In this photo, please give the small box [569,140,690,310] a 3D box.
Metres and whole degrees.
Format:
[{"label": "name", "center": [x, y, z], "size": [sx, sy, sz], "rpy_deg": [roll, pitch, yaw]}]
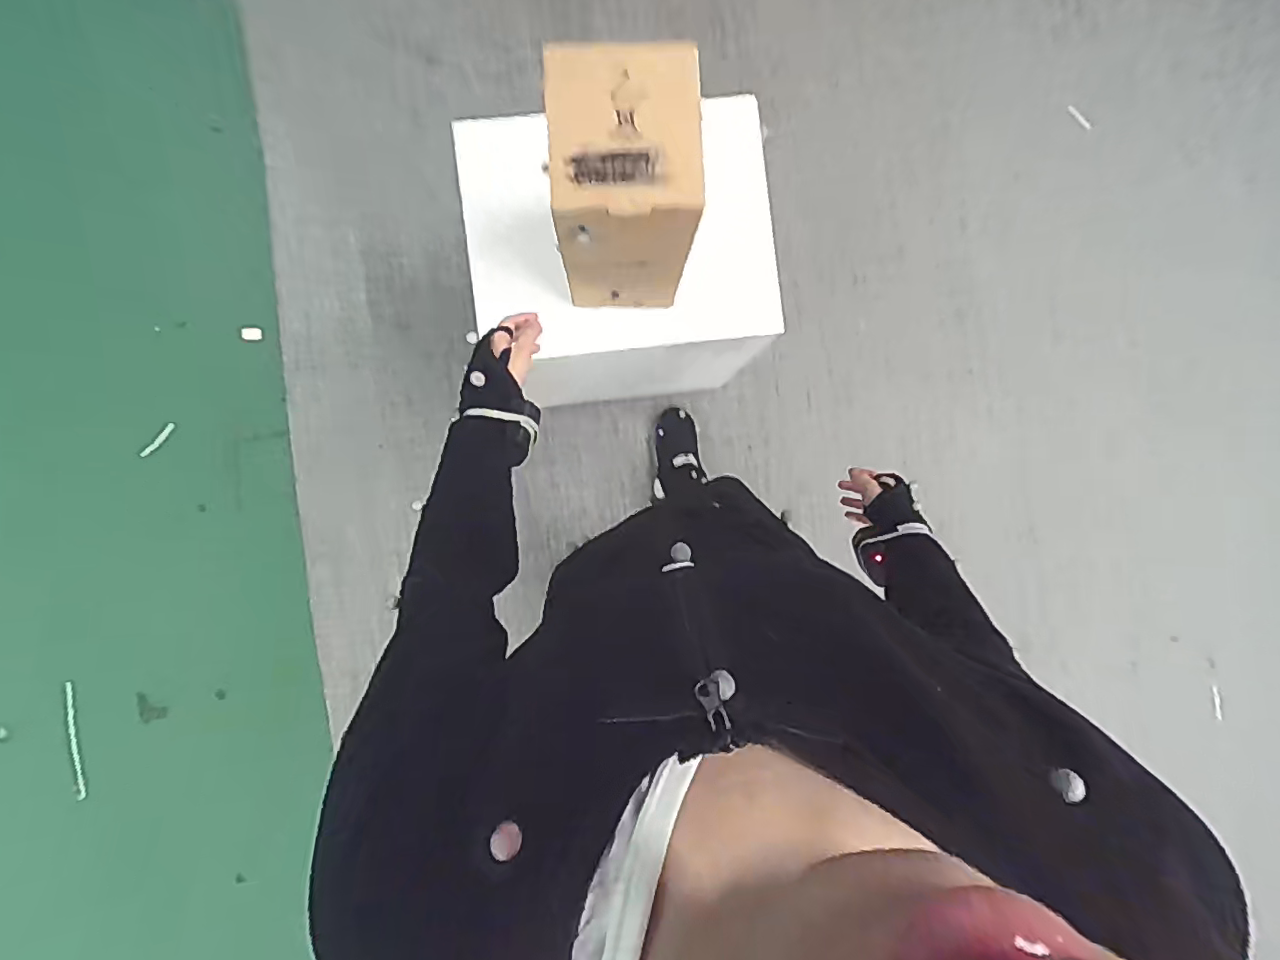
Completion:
[{"label": "small box", "center": [-0.019, -0.369, 0.809], "size": [0.168, 0.176, 0.179], "rpy_deg": [-1, 89, -2]}]
